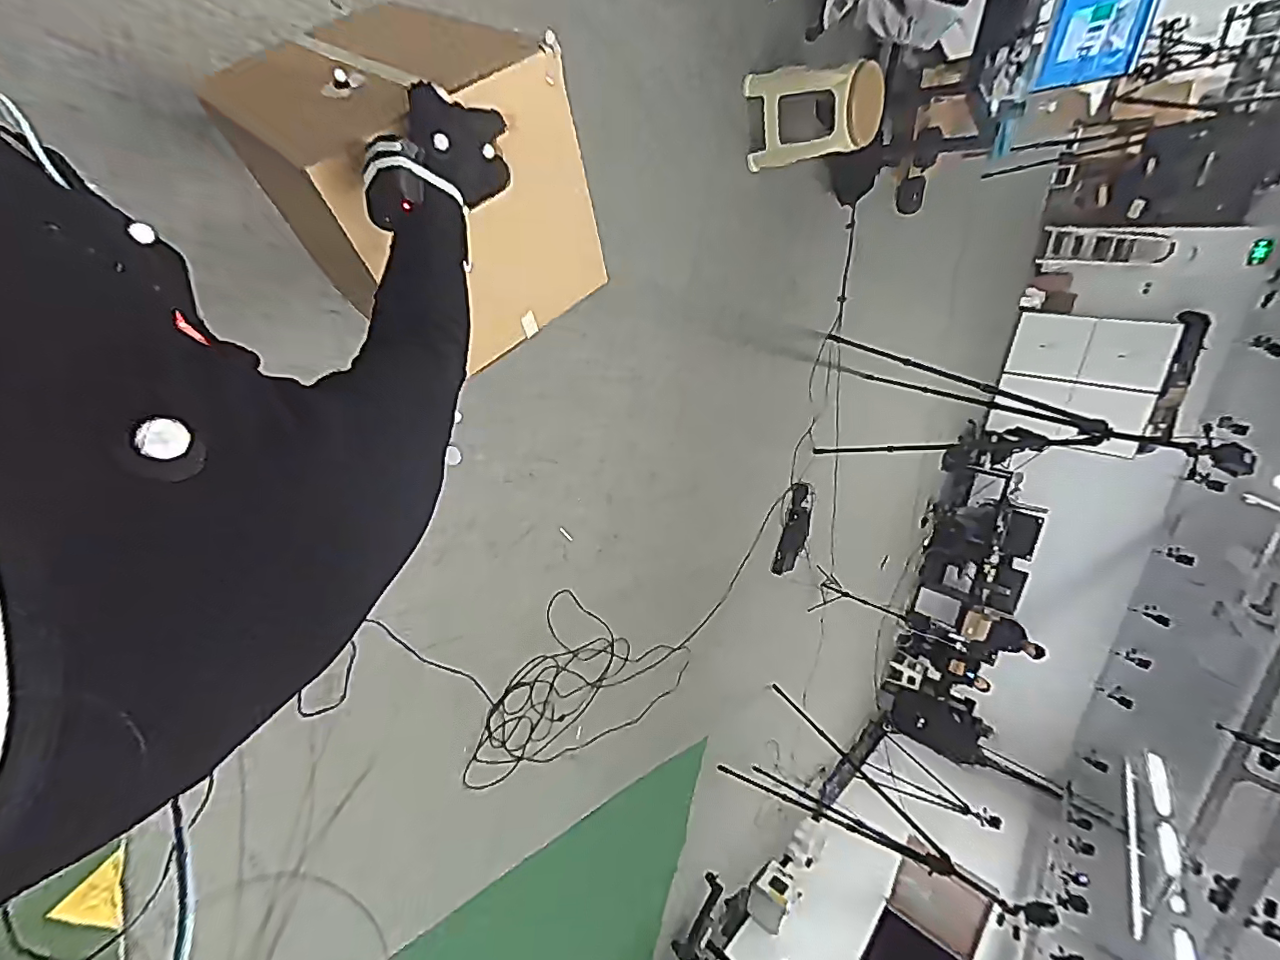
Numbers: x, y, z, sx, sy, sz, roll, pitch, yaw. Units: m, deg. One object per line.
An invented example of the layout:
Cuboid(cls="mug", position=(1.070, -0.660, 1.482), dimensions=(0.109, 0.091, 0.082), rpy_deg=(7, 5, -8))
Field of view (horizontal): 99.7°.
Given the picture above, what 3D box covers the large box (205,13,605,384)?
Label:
Cuboid(cls="large box", position=(-0.312, -0.413, 0.789), dimensions=(0.320, 0.408, 0.320), rpy_deg=(-41, 150, -18))
